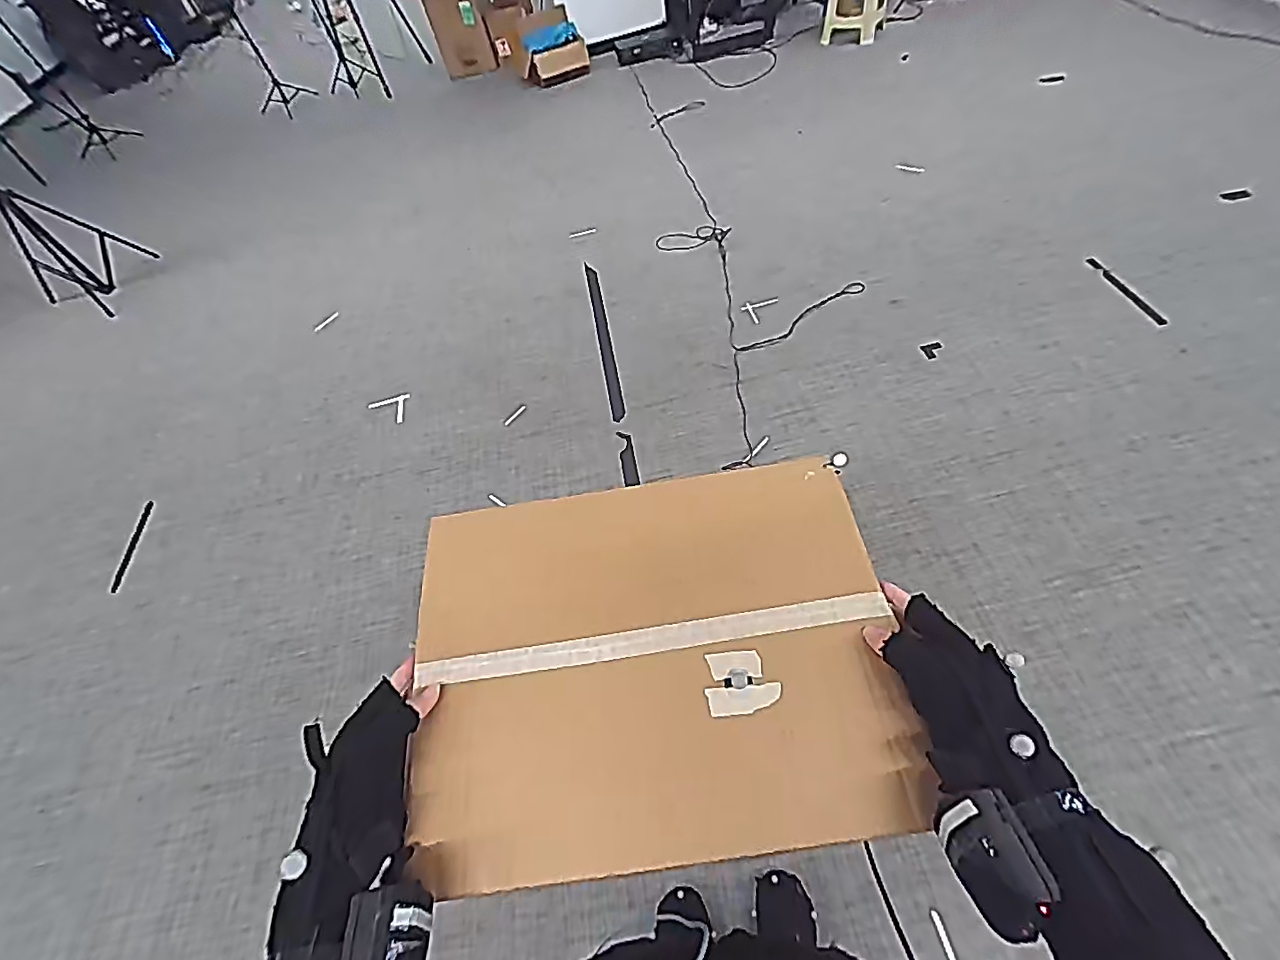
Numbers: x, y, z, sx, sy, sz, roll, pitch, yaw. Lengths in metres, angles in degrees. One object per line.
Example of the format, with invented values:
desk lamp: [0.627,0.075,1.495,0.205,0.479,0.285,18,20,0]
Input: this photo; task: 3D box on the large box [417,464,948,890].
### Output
large box: [0.024,0.221,0.598,0.408,0.320,0.320,-9,57,0]
